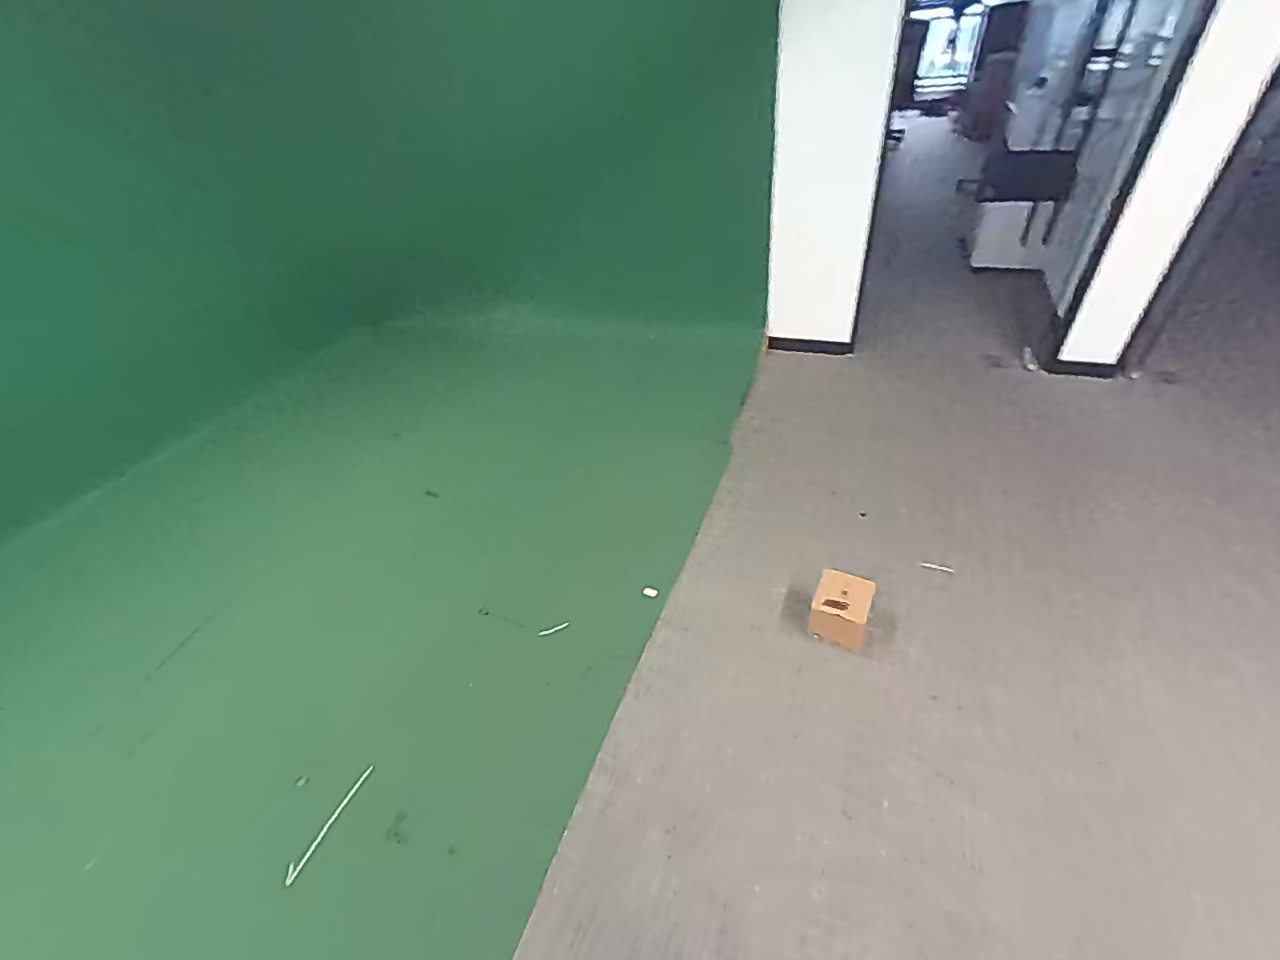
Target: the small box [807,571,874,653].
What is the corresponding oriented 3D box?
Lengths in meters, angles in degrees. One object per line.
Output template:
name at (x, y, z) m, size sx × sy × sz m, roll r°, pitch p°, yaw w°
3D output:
small box at (0.656, 0.440, 1.784) m, size 0.168 × 0.176 × 0.179 m, roll 16°, pitch 47°, yaw 24°
